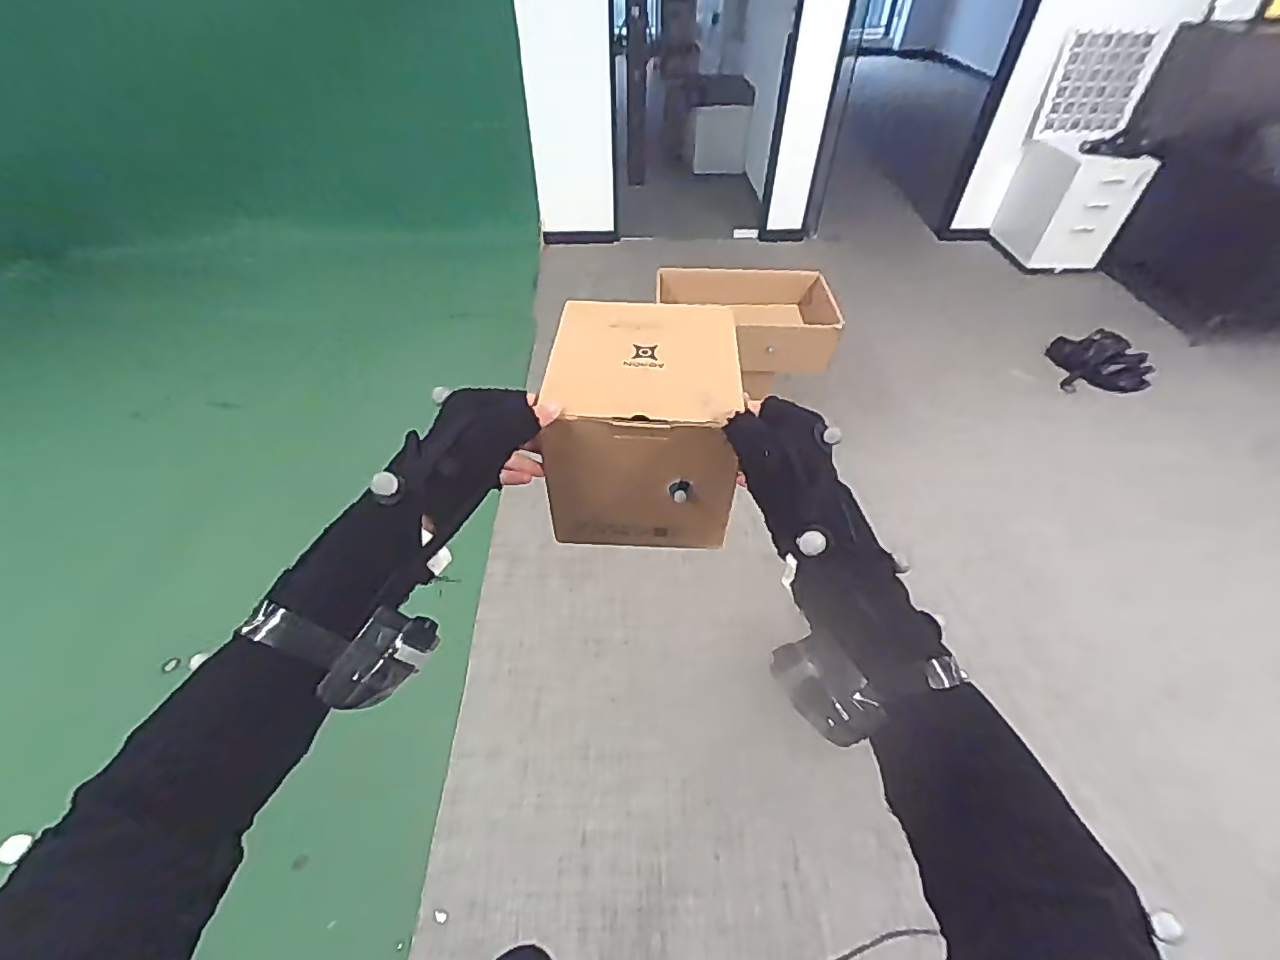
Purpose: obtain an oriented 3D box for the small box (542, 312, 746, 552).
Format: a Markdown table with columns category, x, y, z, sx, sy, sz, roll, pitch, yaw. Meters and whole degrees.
| category | x | y | z | sx | sy | sz | roll | pitch | yaw |
| --- | --- | --- | --- | --- | --- | --- | --- | --- | --- |
| small box | 0.007 | -0.046 | 0.536 | 0.168 | 0.176 | 0.179 | 3 | 45 | 1 |
